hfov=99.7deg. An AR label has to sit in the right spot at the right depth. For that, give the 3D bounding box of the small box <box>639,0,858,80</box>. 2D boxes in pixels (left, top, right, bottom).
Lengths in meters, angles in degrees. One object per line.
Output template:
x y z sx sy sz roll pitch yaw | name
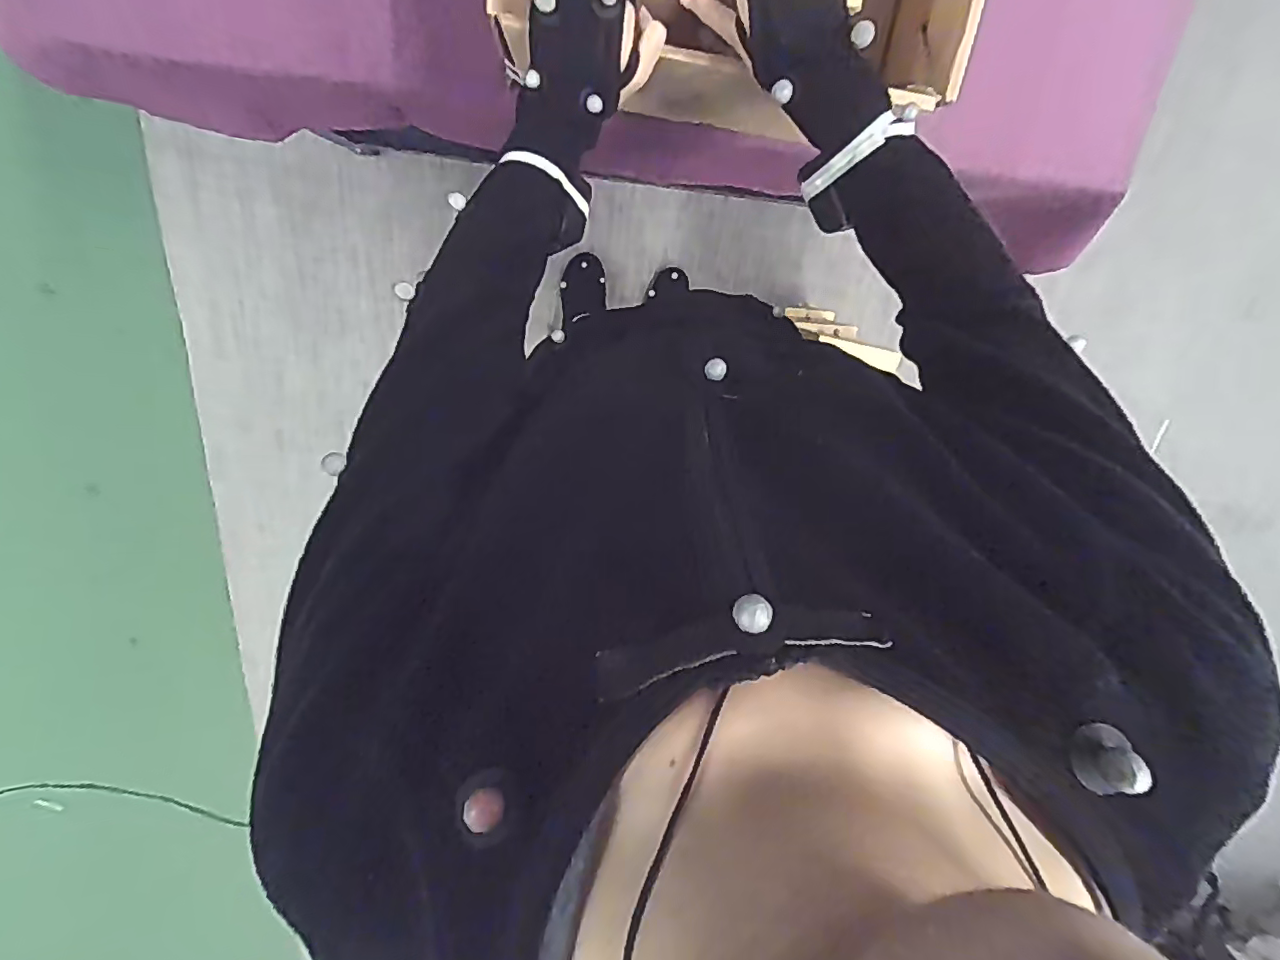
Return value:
0.091 -0.470 0.454 0.168 0.176 0.179 4 111 -6 | small box

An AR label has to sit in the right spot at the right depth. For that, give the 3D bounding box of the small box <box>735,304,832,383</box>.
0.356 -0.350 1.370 0.179 0.176 0.168 3 111 -6 | small box
